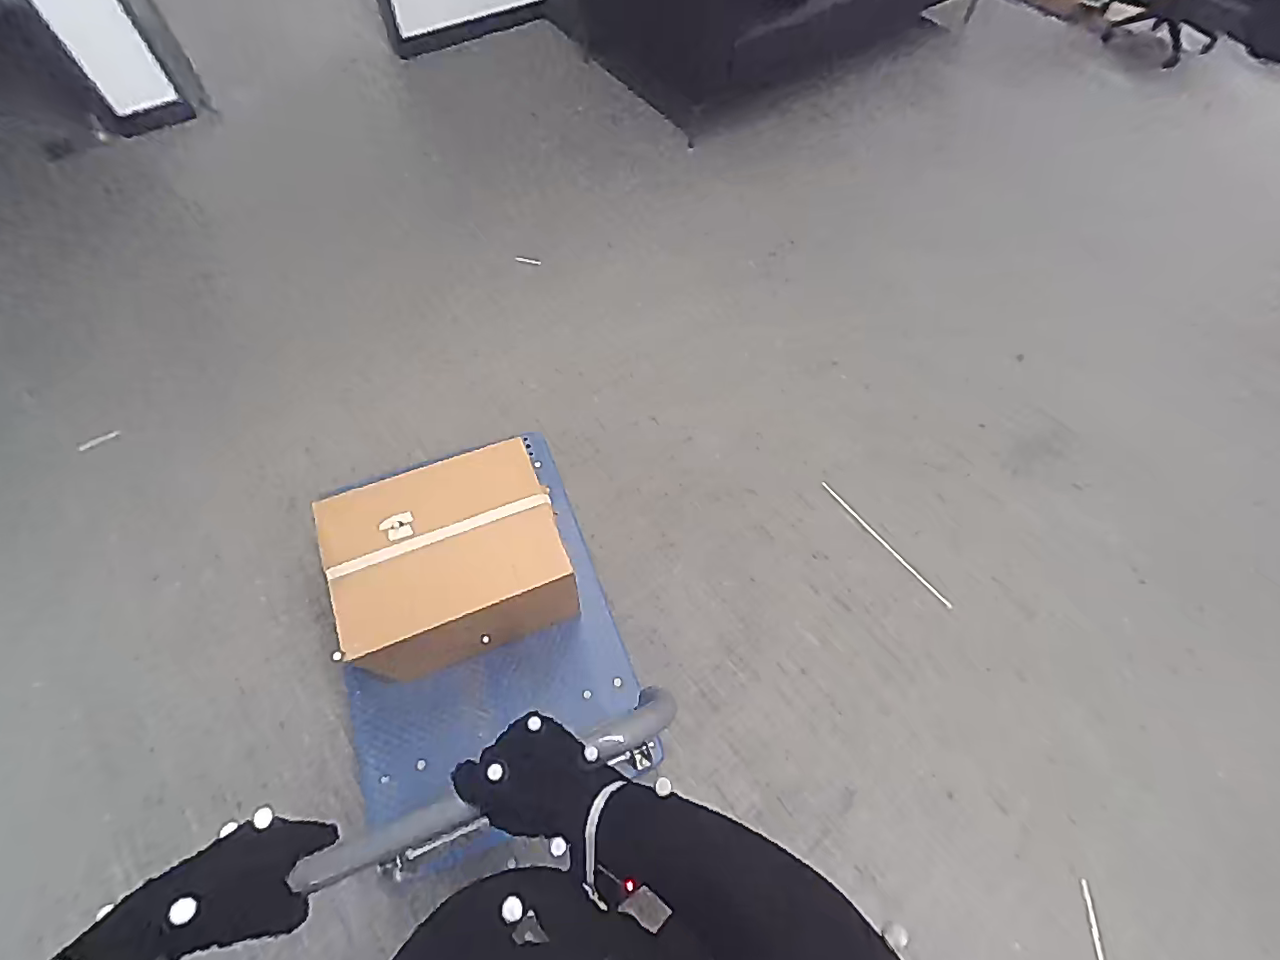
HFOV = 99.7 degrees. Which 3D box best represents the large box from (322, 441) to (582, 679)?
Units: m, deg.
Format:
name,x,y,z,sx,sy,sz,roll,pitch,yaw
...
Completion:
name,x,y,z,sx,sy,sz,roll,pitch,yaw
large box,-0.364,0.176,1.132,0.408,0.320,0.320,-20,66,-13
